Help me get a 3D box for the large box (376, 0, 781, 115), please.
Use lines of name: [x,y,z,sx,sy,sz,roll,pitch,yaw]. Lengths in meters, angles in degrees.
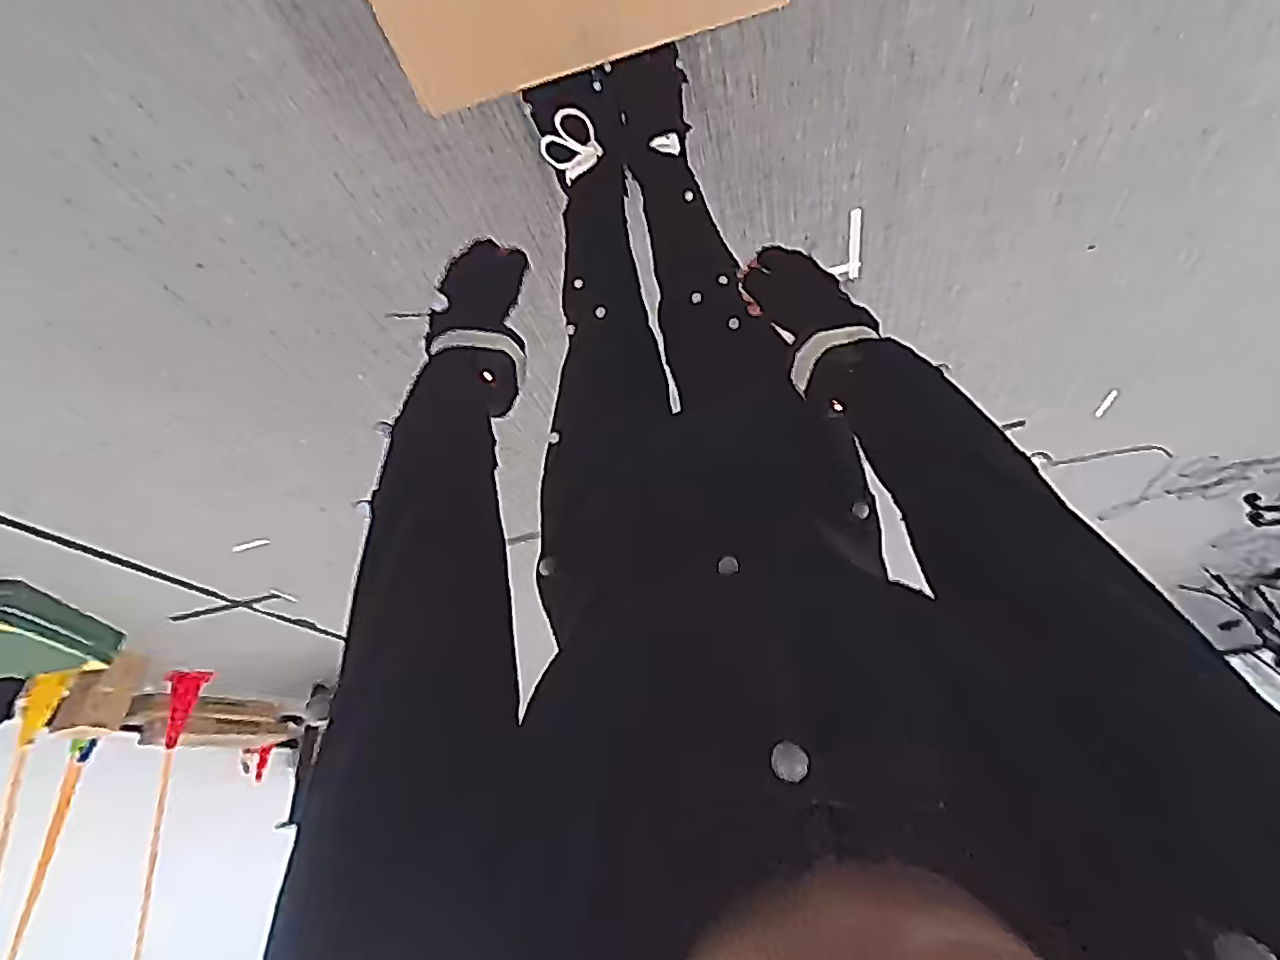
large box: [-0.092,-0.650,0.532,0.408,0.320,0.320,-13,149,7]
